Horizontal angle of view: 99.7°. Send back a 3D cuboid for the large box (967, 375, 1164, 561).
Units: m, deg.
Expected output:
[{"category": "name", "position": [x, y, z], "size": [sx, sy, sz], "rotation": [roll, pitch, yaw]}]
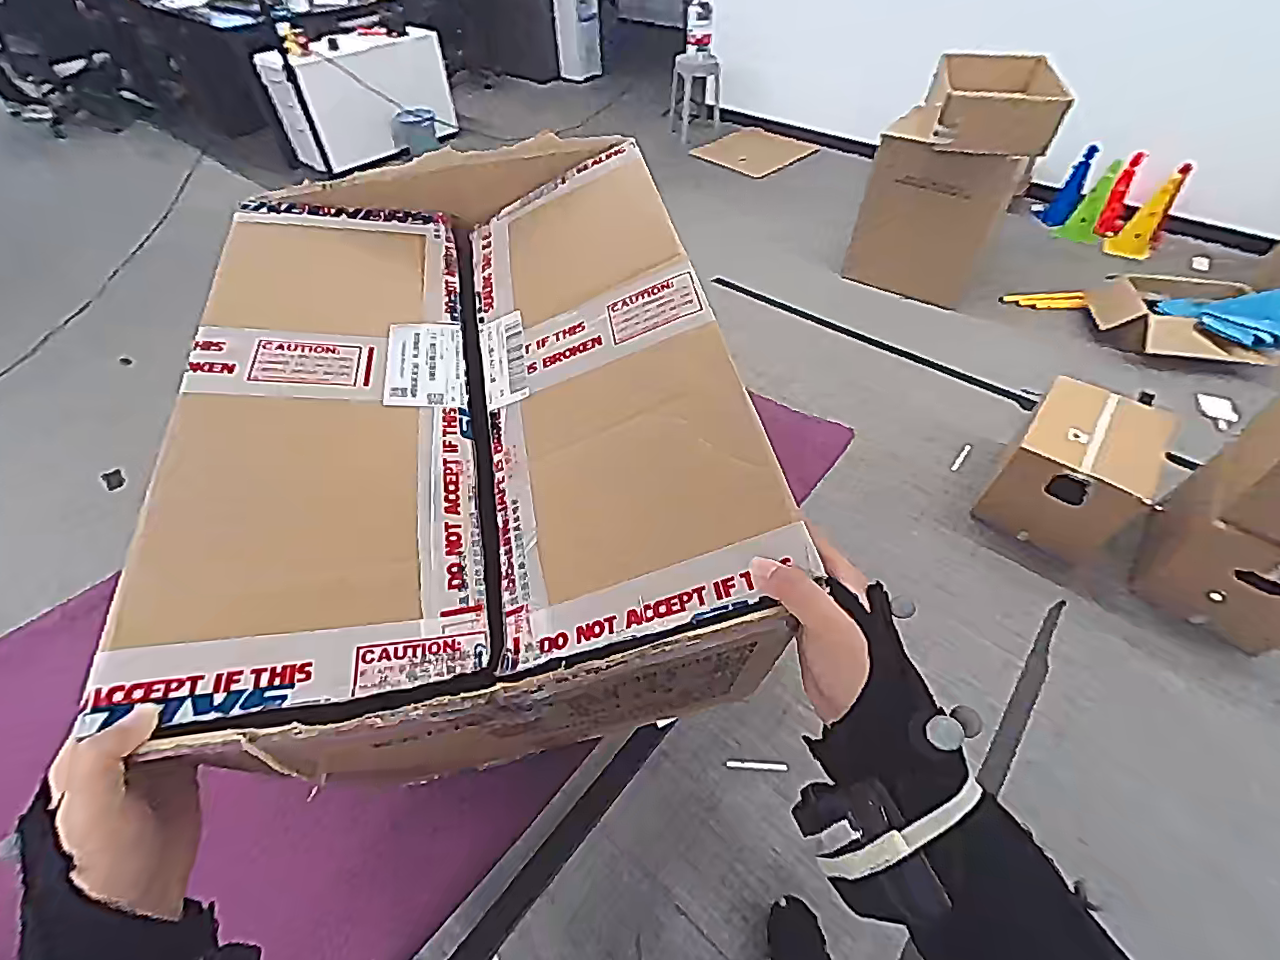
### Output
[{"category": "large box", "position": [1.265, -0.041, 1.626], "size": [0.320, 0.320, 0.408], "rotation": [31, 57, 25]}]
